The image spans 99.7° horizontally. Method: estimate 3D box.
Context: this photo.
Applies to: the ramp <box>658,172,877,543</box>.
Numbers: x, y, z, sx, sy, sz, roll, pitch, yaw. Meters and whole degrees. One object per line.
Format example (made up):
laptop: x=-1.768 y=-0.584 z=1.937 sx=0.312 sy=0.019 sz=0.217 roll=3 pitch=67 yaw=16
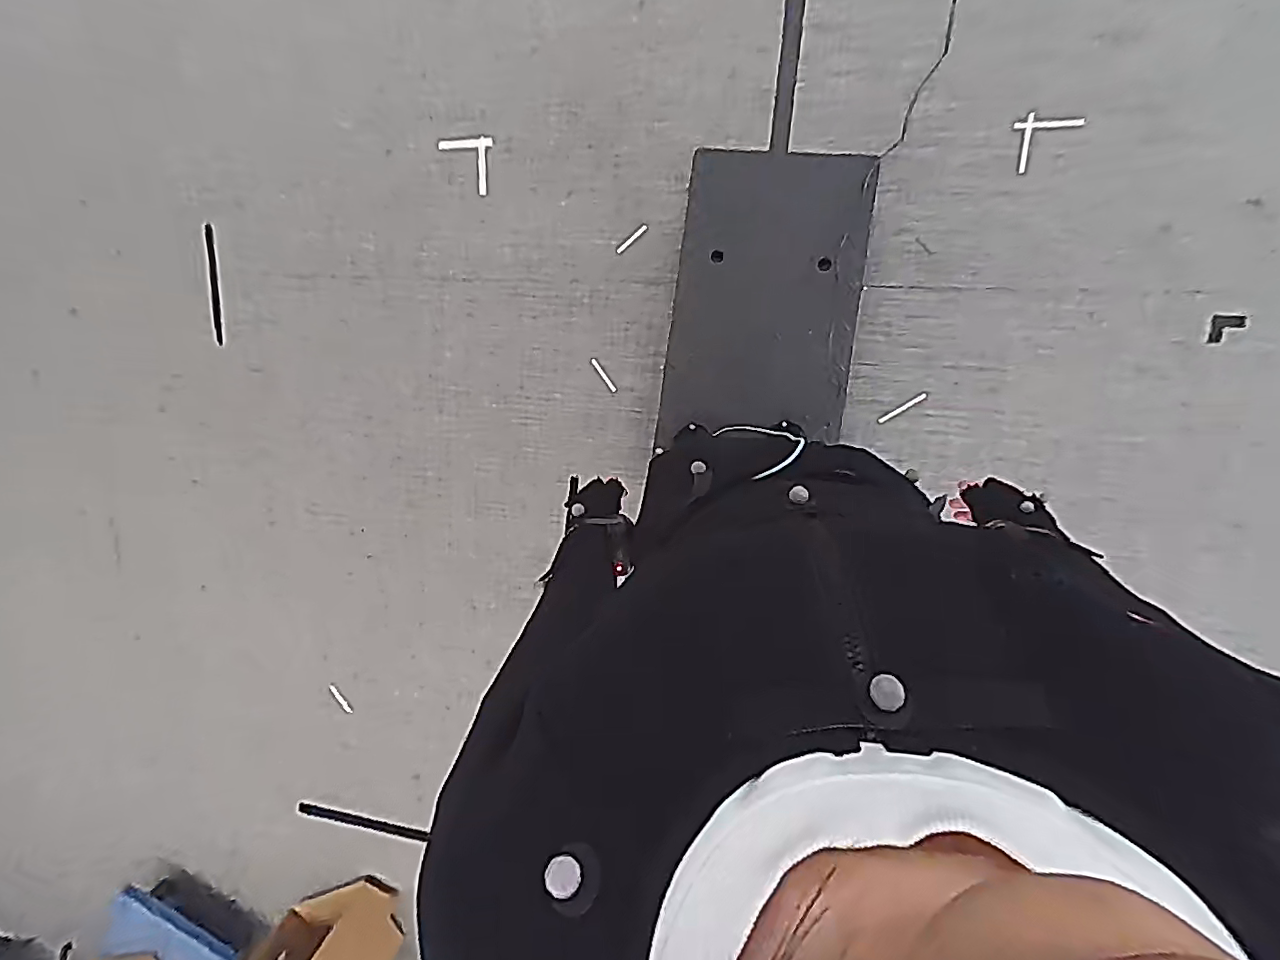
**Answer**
ramp: x=0.338 y=-0.350 z=1.476 sx=0.509 sy=0.206 sz=0.991 roll=5 pitch=99 yaw=12
